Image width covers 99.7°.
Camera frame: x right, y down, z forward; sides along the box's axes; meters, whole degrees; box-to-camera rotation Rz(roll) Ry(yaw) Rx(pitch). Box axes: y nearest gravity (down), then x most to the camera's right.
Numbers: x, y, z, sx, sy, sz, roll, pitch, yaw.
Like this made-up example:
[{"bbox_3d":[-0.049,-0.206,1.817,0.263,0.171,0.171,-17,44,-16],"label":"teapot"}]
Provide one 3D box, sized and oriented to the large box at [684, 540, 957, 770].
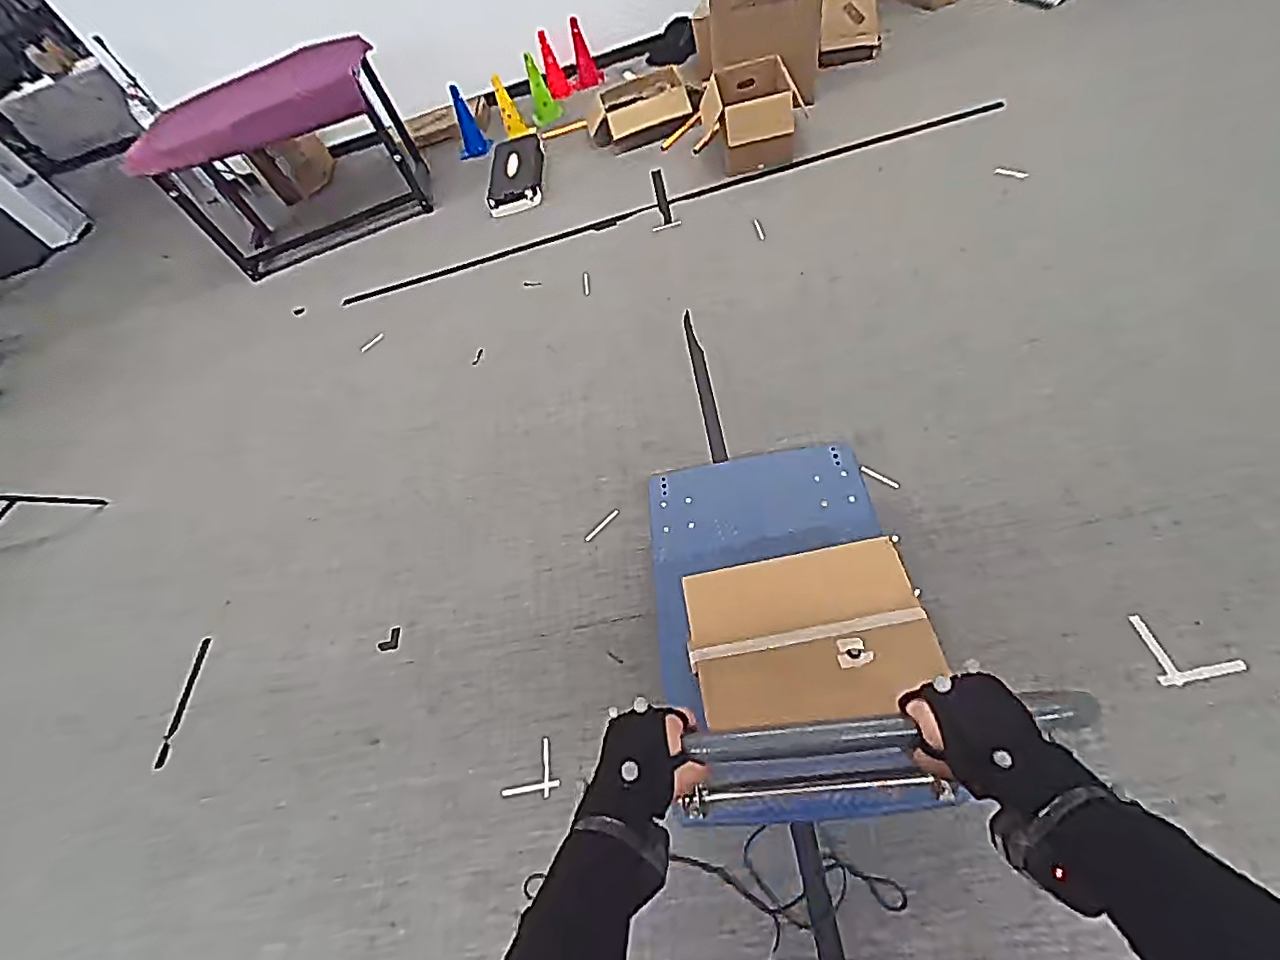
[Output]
[{"bbox_3d":[0.328,0.364,1.087,0.408,0.320,0.320,-13,55,6],"label":"large box"}]
